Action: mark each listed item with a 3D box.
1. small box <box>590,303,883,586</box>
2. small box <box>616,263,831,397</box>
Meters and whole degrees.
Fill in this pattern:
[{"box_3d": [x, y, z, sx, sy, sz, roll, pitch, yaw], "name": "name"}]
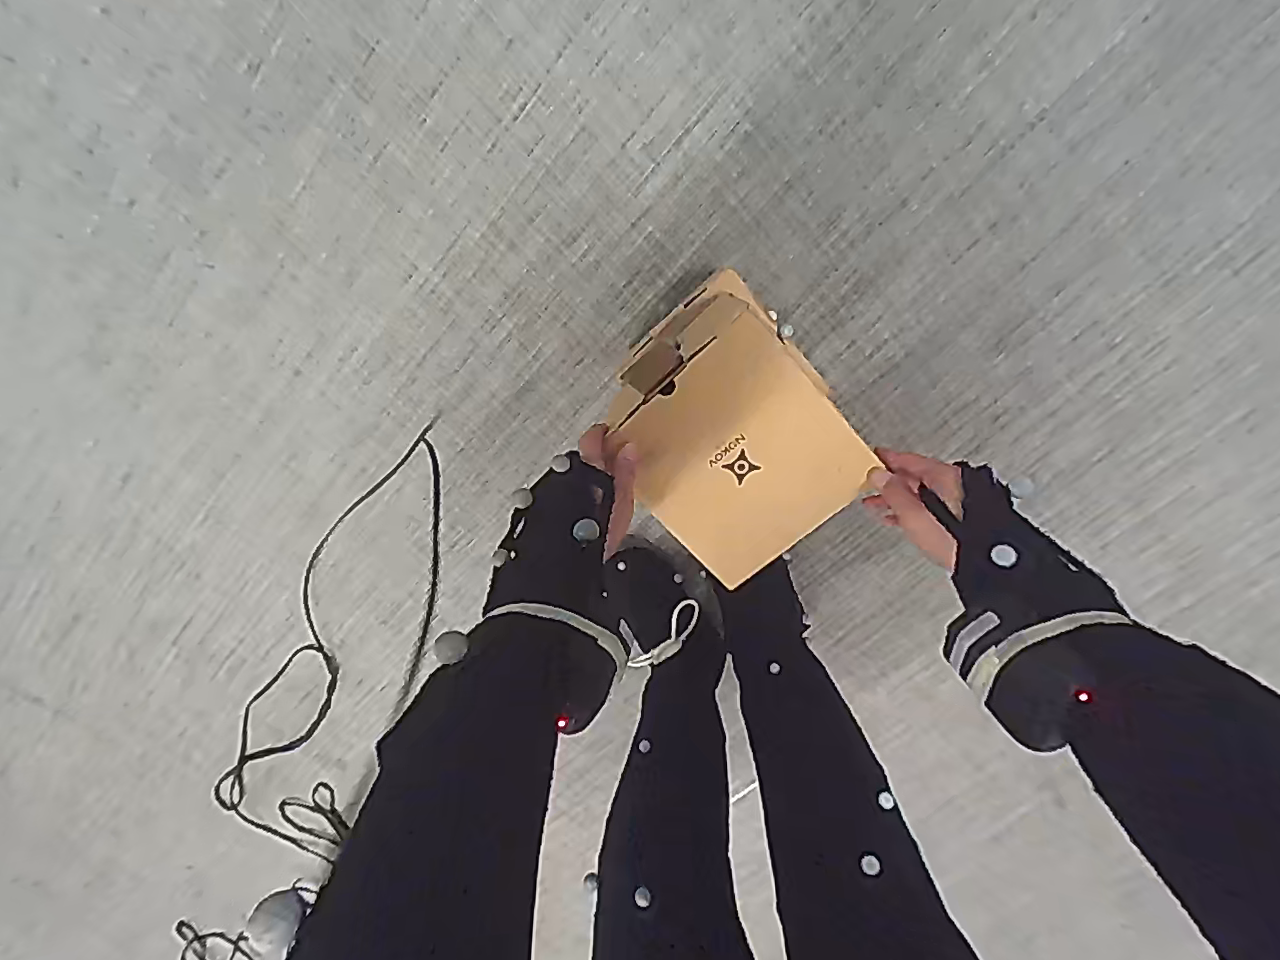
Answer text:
[{"box_3d": [0.082, -0.044, 0.501, 0.168, 0.176, 0.179, -41, 103, 17], "name": "small box"}, {"box_3d": [0.093, -0.133, 0.657, 0.168, 0.176, 0.179, -40, 102, 16], "name": "small box"}]
